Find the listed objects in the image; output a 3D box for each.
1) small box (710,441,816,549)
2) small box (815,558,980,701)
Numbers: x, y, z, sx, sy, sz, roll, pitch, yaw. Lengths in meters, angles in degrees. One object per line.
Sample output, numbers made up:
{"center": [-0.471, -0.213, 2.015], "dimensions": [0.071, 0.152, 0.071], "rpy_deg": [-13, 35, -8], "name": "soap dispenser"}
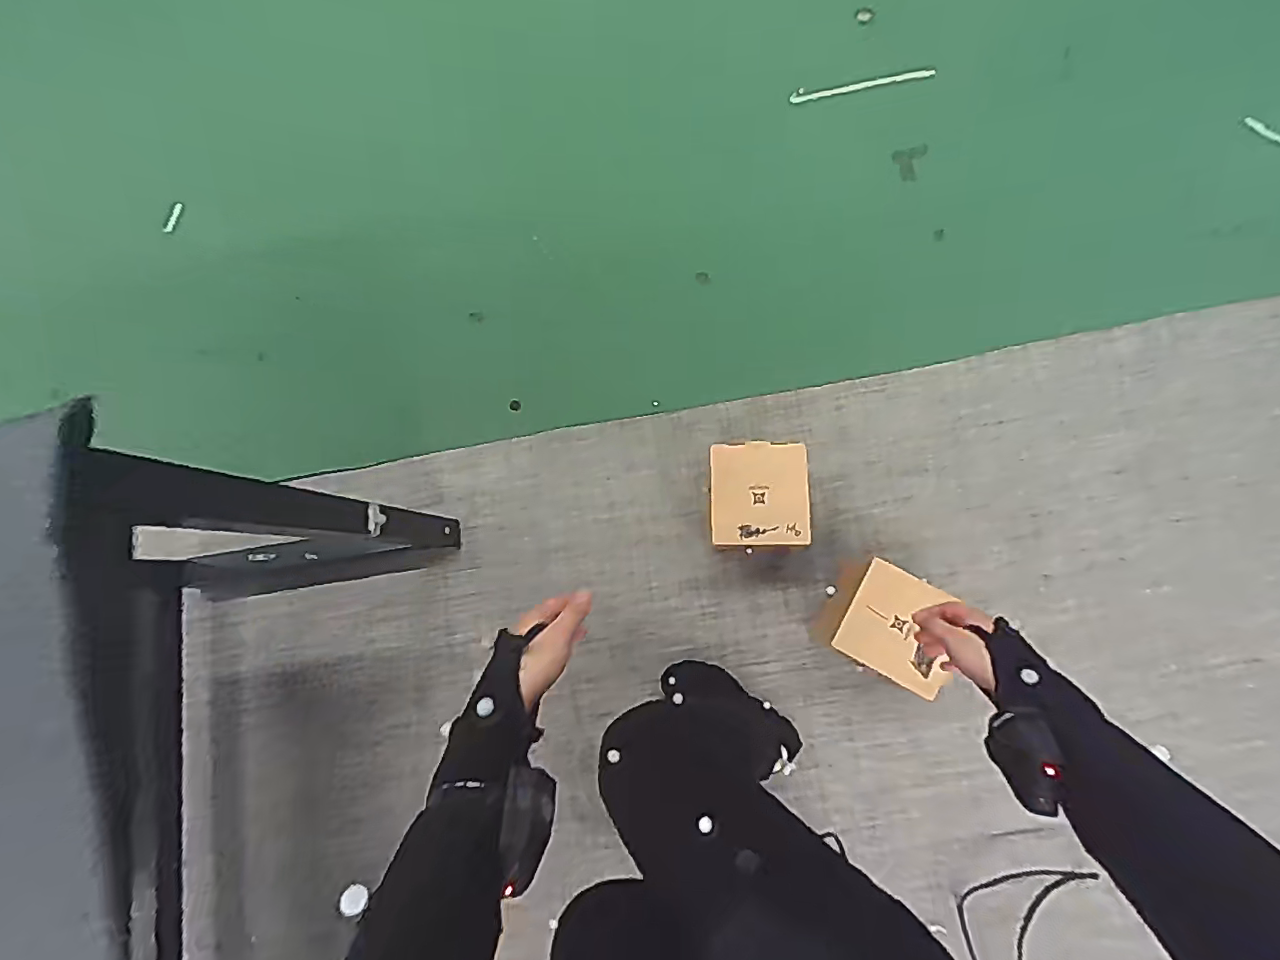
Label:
{"center": [0.215, 0.033, 0.989], "dimensions": [0.168, 0.176, 0.179], "rpy_deg": [0, 81, 4], "name": "small box"}
{"center": [0.433, 0.246, 0.937], "dimensions": [0.179, 0.176, 0.168], "rpy_deg": [29, 84, 9], "name": "small box"}
